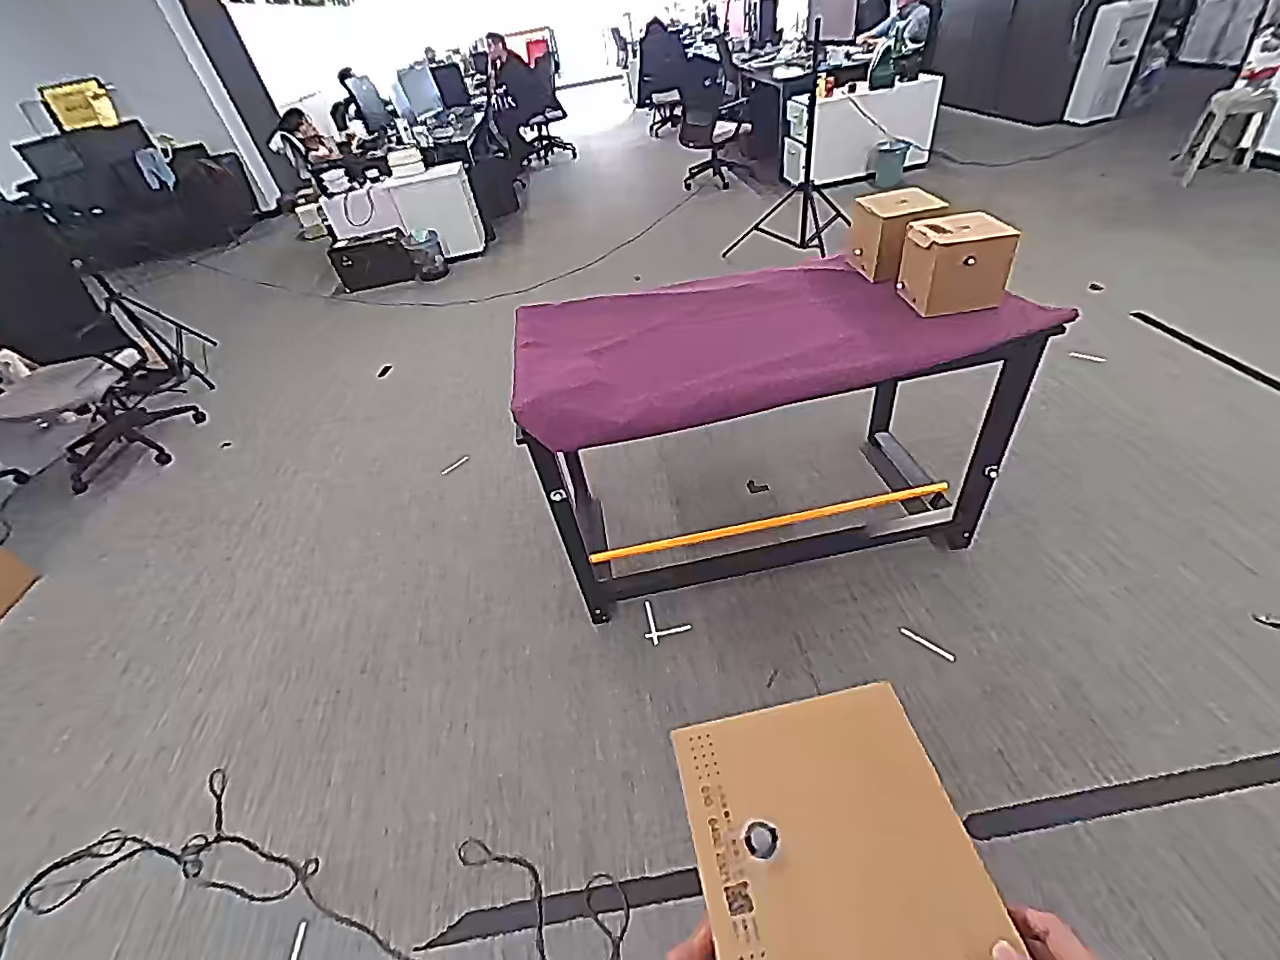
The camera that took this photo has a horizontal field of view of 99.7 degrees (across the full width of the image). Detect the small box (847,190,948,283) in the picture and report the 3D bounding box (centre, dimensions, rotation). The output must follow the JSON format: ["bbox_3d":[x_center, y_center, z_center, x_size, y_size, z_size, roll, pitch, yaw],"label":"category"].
[{"bbox_3d":[0.678,-0.648,1.445,0.179,0.176,0.168,-12,42,-1],"label":"small box"}]

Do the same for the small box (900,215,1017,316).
[{"bbox_3d":[0.732,-0.500,1.269,0.179,0.176,0.168,-8,40,3],"label":"small box"}]
